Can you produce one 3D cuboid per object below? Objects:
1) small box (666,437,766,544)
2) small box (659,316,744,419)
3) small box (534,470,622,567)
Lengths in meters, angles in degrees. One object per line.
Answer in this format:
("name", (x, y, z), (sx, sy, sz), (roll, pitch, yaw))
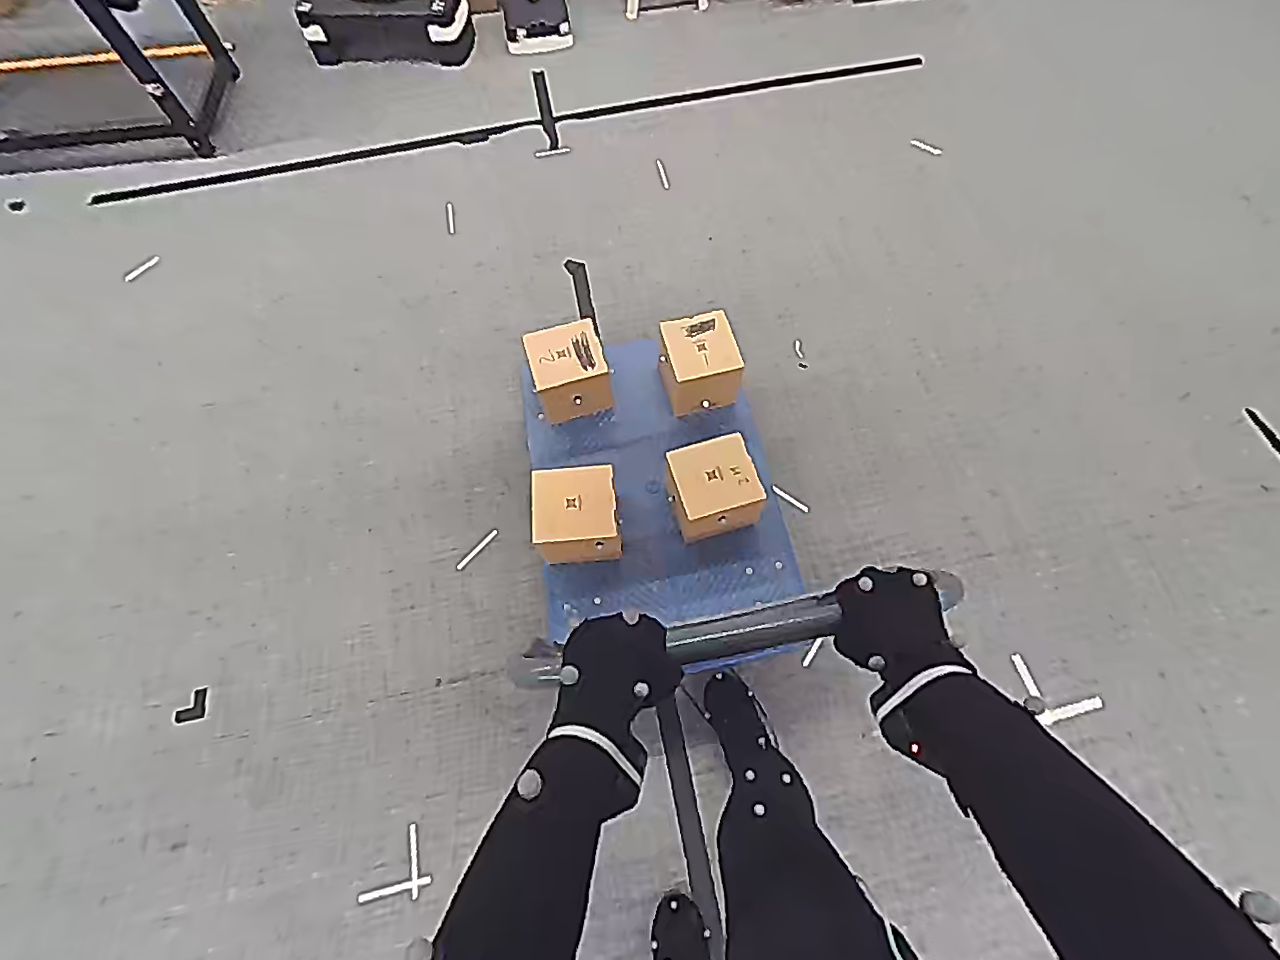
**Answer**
("small box", (0.164, 0.031, 1.229), (0.179, 0.176, 0.168), (-16, 68, -5))
("small box", (0.147, -0.279, 1.362), (0.168, 0.176, 0.179), (-14, 68, -4))
("small box", (-0.136, 0.091, 1.211), (0.179, 0.176, 0.168), (-5, 67, -2))
